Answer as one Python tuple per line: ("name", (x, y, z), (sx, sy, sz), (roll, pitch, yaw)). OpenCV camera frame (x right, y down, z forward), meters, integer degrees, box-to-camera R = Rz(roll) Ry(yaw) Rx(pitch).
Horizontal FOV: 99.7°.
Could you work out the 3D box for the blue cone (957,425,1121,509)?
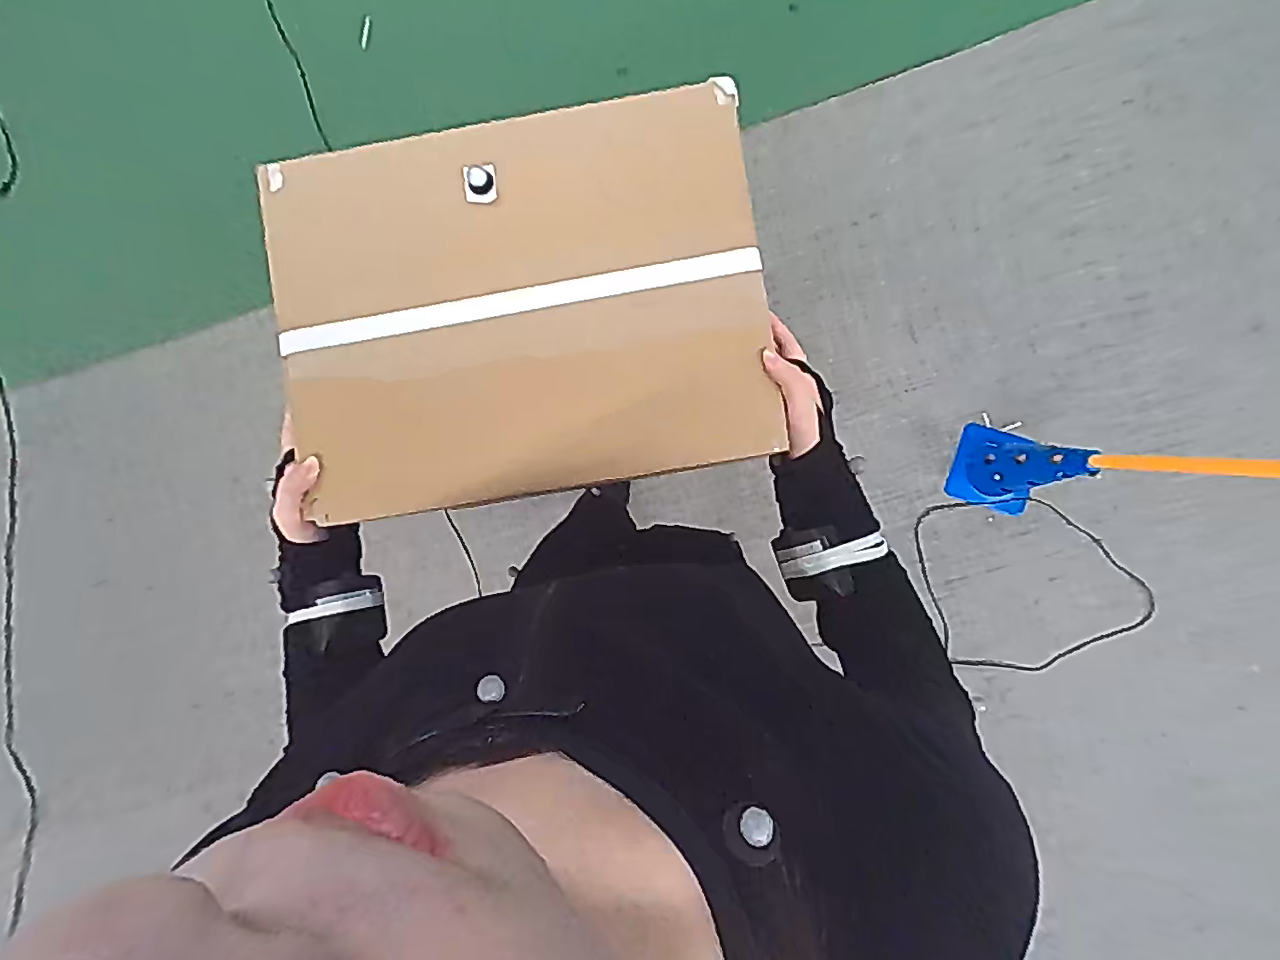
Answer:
("blue cone", (0.899, -0.042, 1.210), (0.192, 0.380, 0.193), (16, 89, 5))
